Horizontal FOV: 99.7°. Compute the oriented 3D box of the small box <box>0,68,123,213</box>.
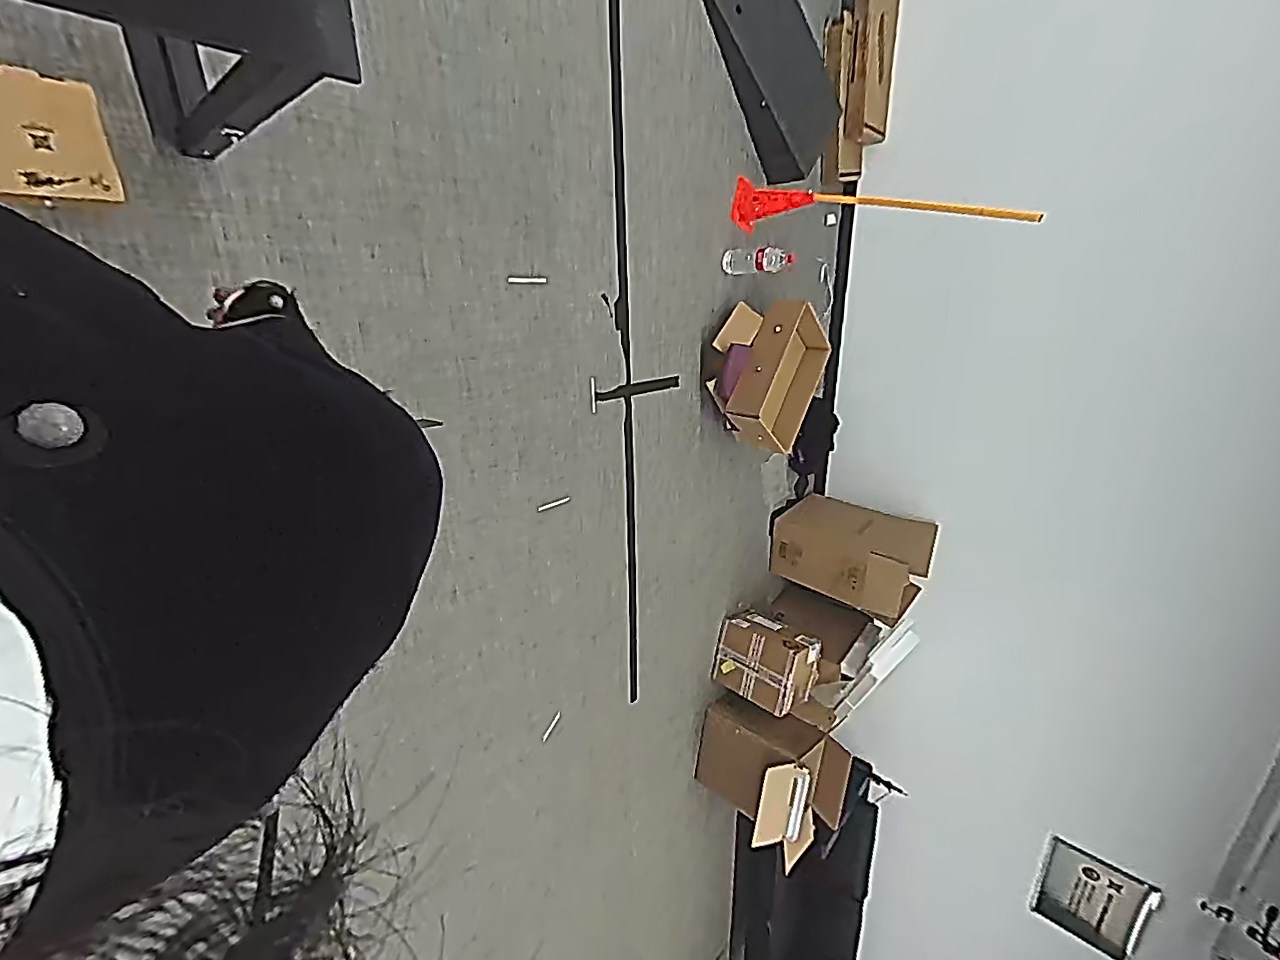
[{"bbox_3d":[-1.011,-0.560,0.905,0.168,0.176,0.179,-21,117,-43],"label":"small box"}]
